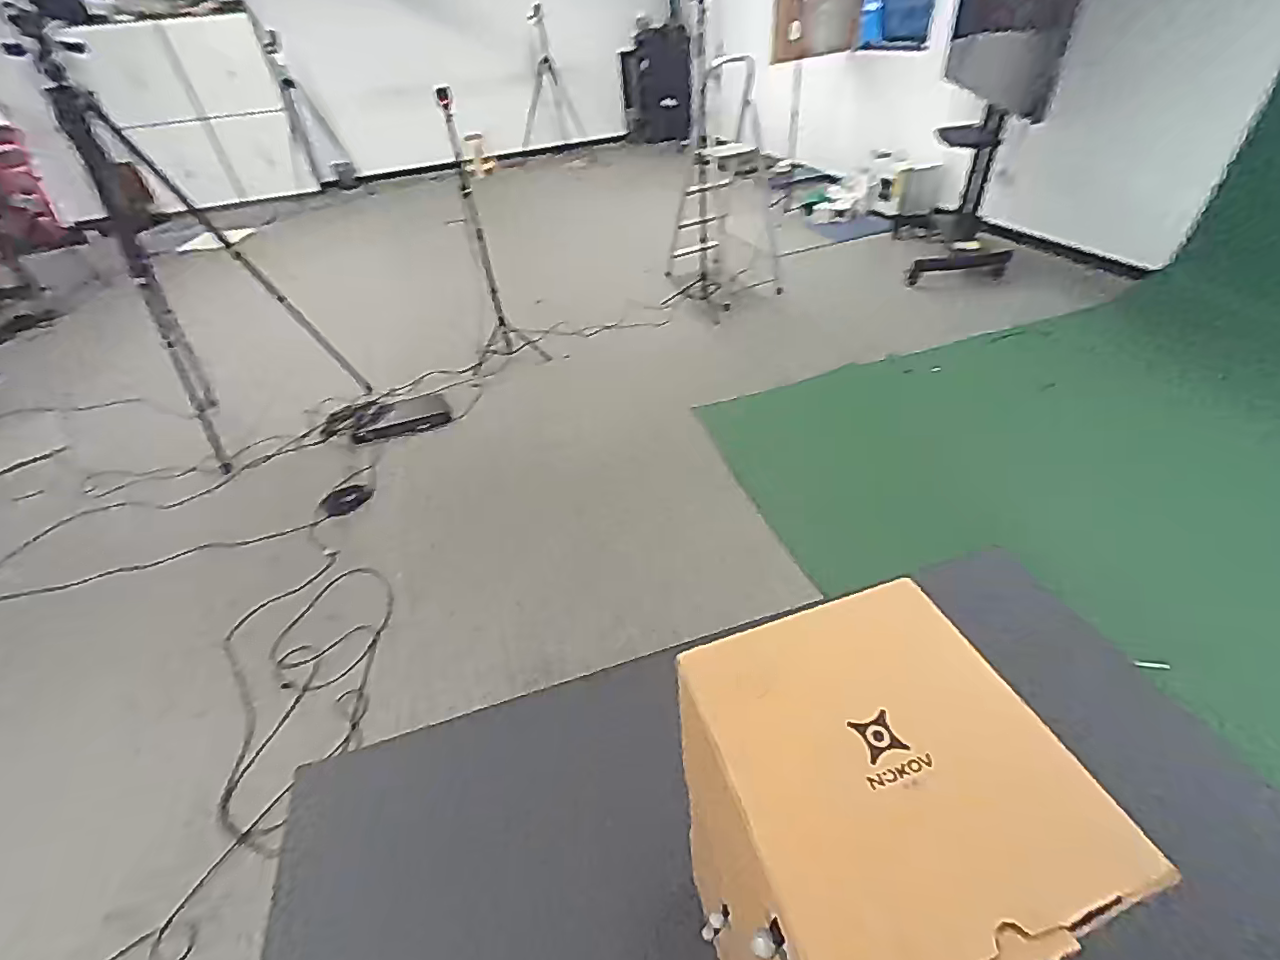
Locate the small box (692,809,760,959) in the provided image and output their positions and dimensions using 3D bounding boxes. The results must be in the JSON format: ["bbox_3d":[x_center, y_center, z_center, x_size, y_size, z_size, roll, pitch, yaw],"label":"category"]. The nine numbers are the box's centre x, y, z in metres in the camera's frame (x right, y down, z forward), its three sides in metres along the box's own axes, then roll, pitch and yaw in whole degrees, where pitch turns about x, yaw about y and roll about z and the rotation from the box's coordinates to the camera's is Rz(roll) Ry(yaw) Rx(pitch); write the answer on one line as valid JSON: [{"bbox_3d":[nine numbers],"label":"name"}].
[{"bbox_3d":[0.156,0.427,0.537,0.168,0.176,0.179,-14,41,-9],"label":"small box"}]

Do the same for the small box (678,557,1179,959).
[{"bbox_3d":[0.129,0.181,0.324,0.168,0.176,0.179,-15,40,-11],"label":"small box"}]
